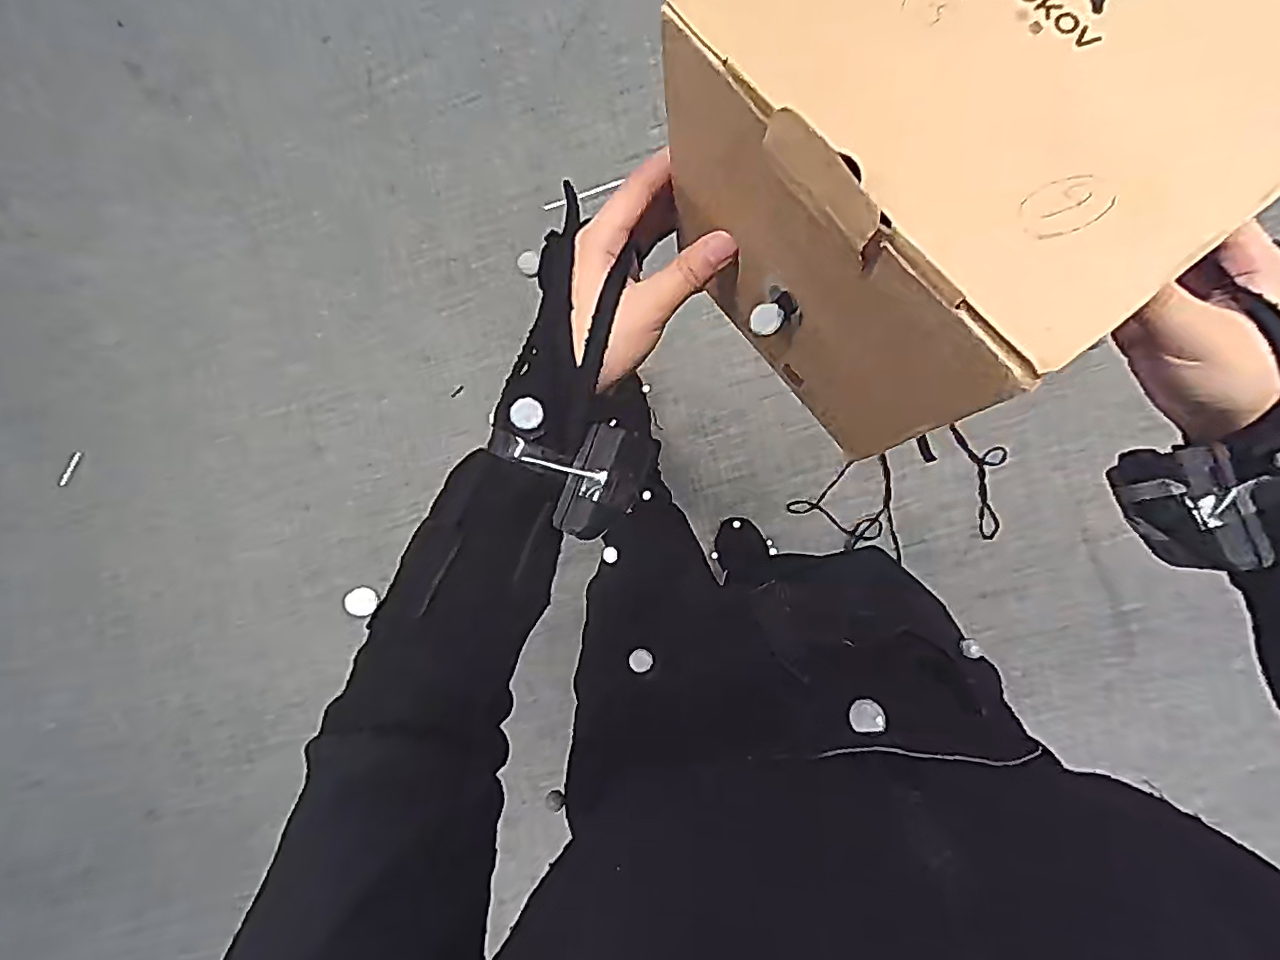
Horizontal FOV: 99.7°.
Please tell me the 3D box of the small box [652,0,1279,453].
[{"bbox_3d":[0.130,-0.131,0.242,0.179,0.176,0.168,-39,82,2],"label":"small box"}]
